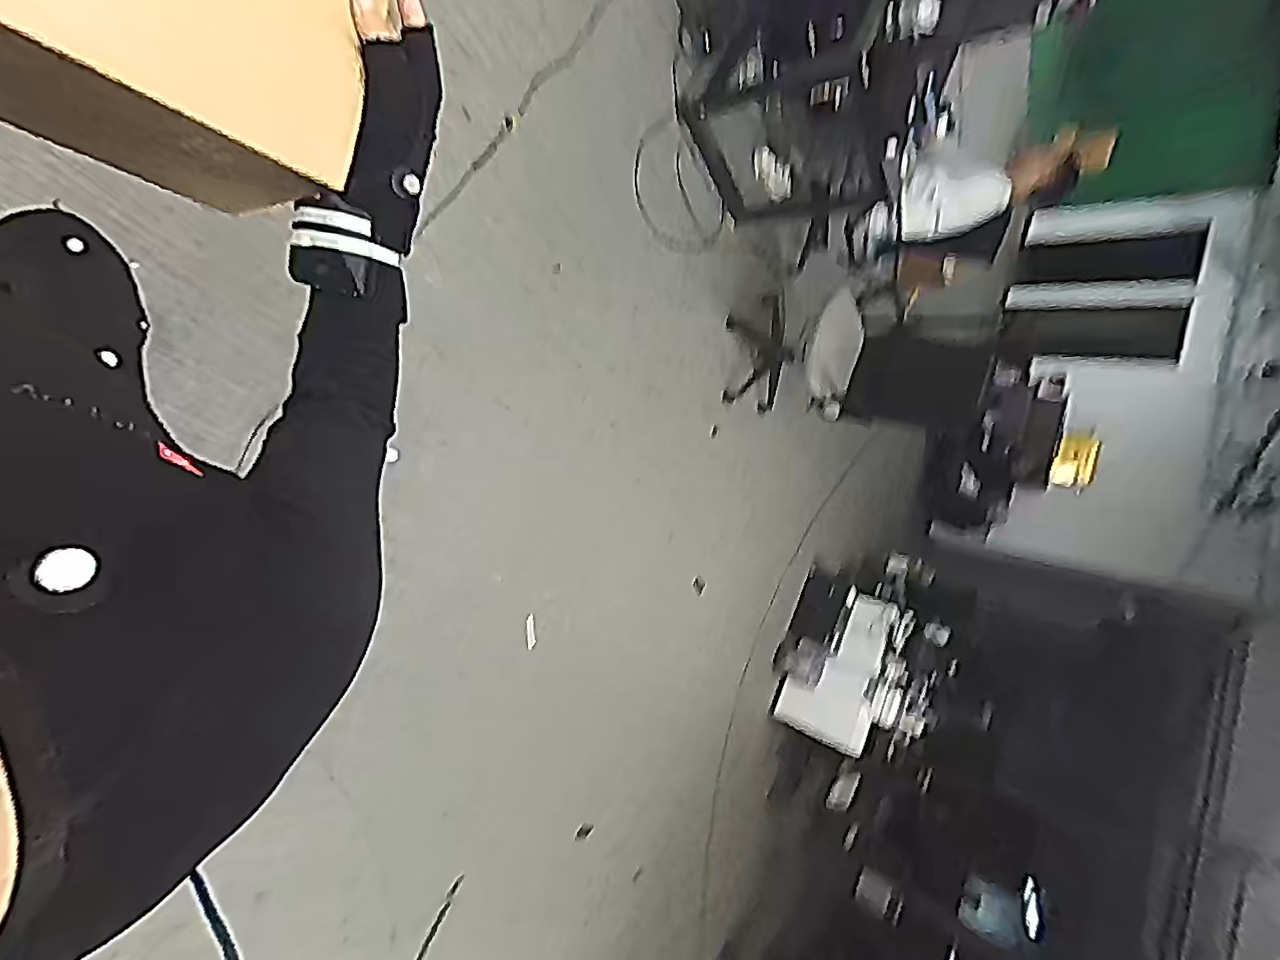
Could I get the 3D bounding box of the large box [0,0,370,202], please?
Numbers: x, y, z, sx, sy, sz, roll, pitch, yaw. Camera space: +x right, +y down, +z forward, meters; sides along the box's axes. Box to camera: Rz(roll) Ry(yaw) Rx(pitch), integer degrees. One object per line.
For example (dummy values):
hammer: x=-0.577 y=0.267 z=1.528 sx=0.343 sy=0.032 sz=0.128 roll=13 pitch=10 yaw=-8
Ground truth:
large box: x=-0.427 y=-0.430 z=0.334 sx=0.408 sy=0.320 sz=0.320 roll=9 pitch=97 yaw=-51
